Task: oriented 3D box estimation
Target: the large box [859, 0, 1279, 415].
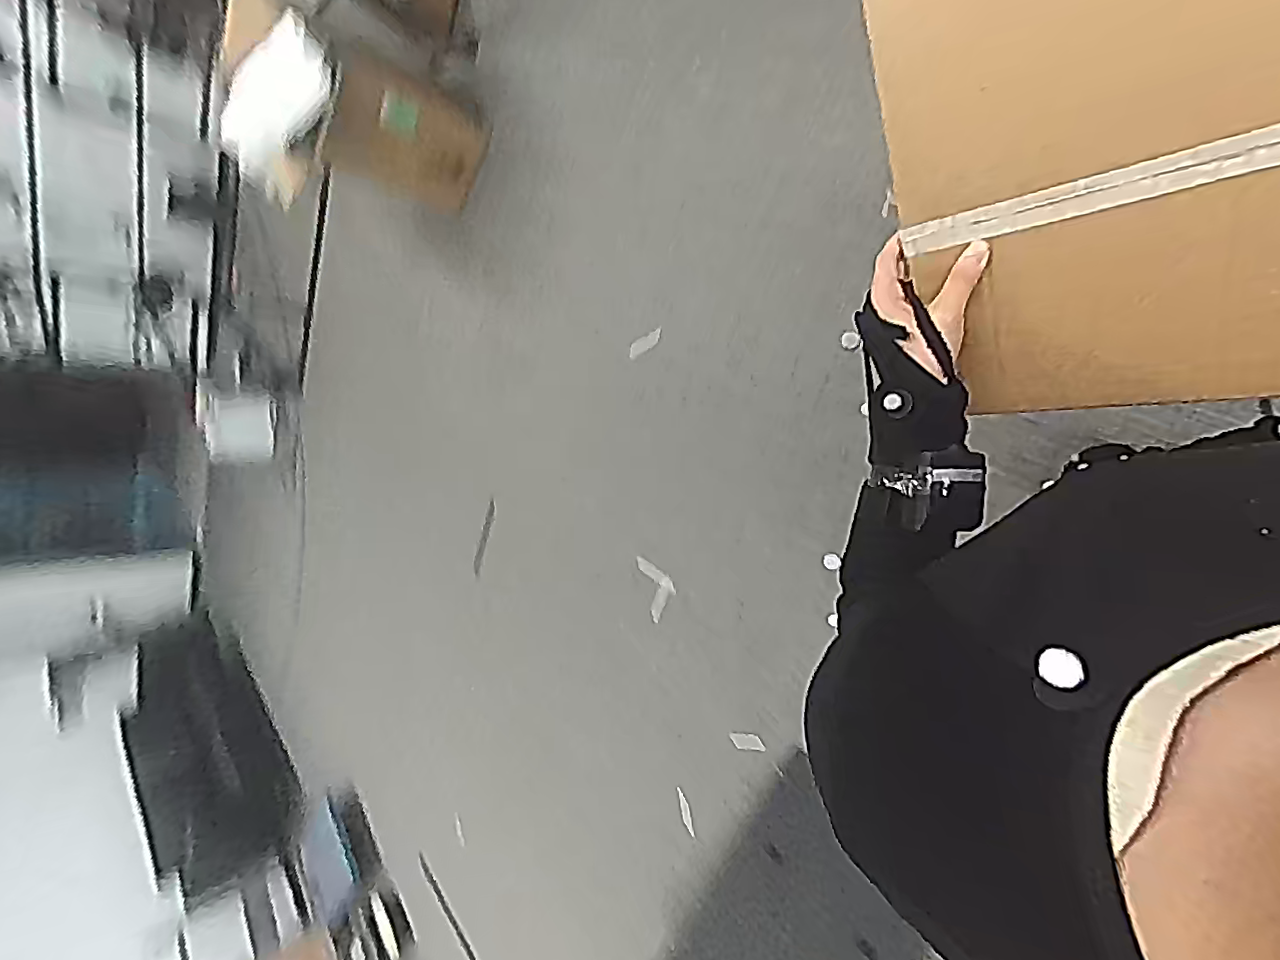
[{"bbox_3d":[0.423,-0.277,0.370,0.408,0.320,0.320,-3,127,41],"label":"large box"}]
